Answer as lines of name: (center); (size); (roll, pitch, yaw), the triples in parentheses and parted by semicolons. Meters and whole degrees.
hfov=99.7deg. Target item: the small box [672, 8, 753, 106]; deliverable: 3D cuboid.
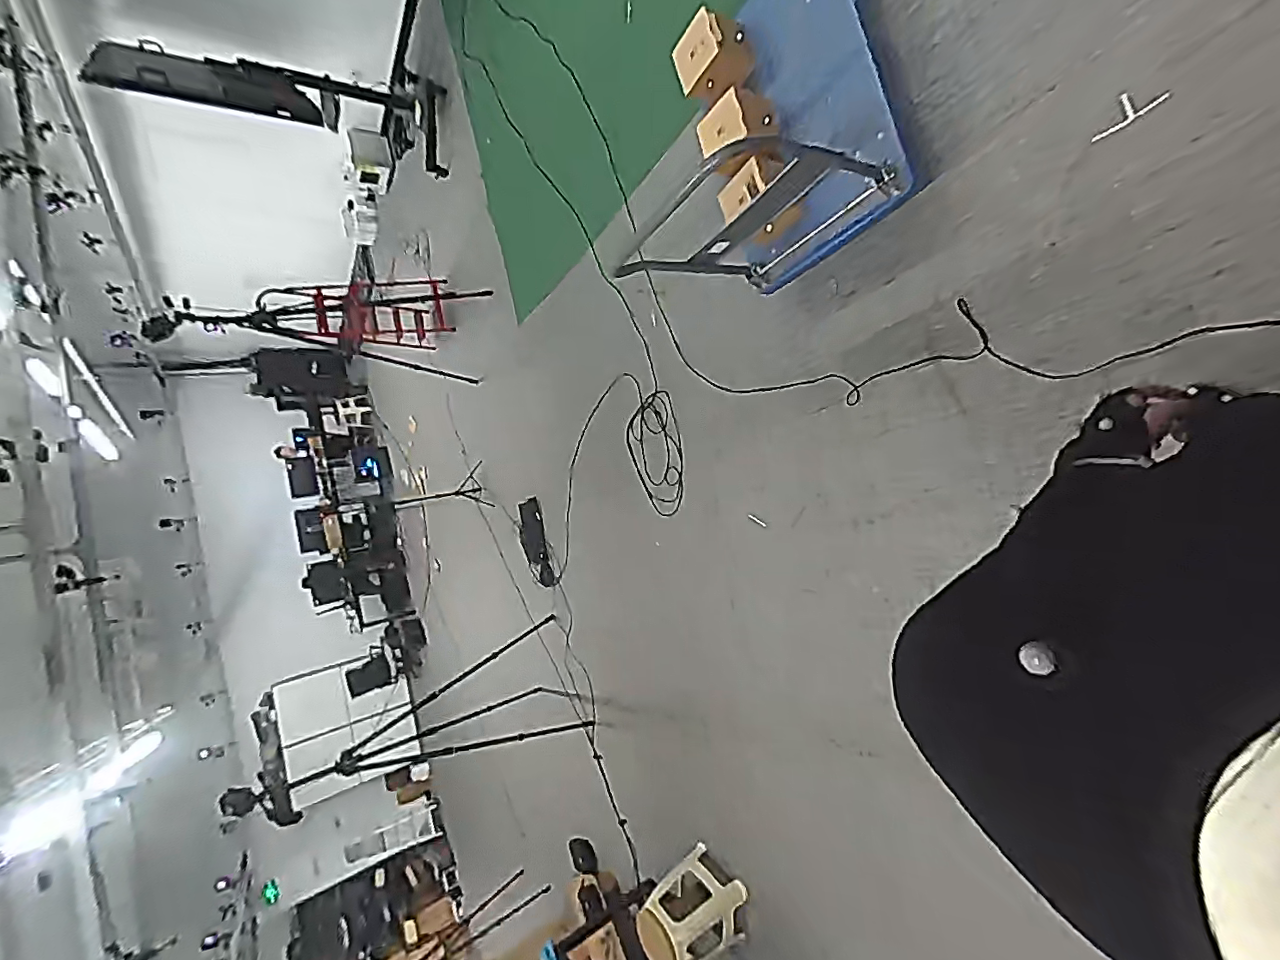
small box: (0.238, -1.370, 1.772); (0.179, 0.176, 0.168); (-23, 81, 53)

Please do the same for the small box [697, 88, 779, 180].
small box: (0.315, -1.103, 1.743); (0.179, 0.176, 0.168); (-22, 81, 52)
